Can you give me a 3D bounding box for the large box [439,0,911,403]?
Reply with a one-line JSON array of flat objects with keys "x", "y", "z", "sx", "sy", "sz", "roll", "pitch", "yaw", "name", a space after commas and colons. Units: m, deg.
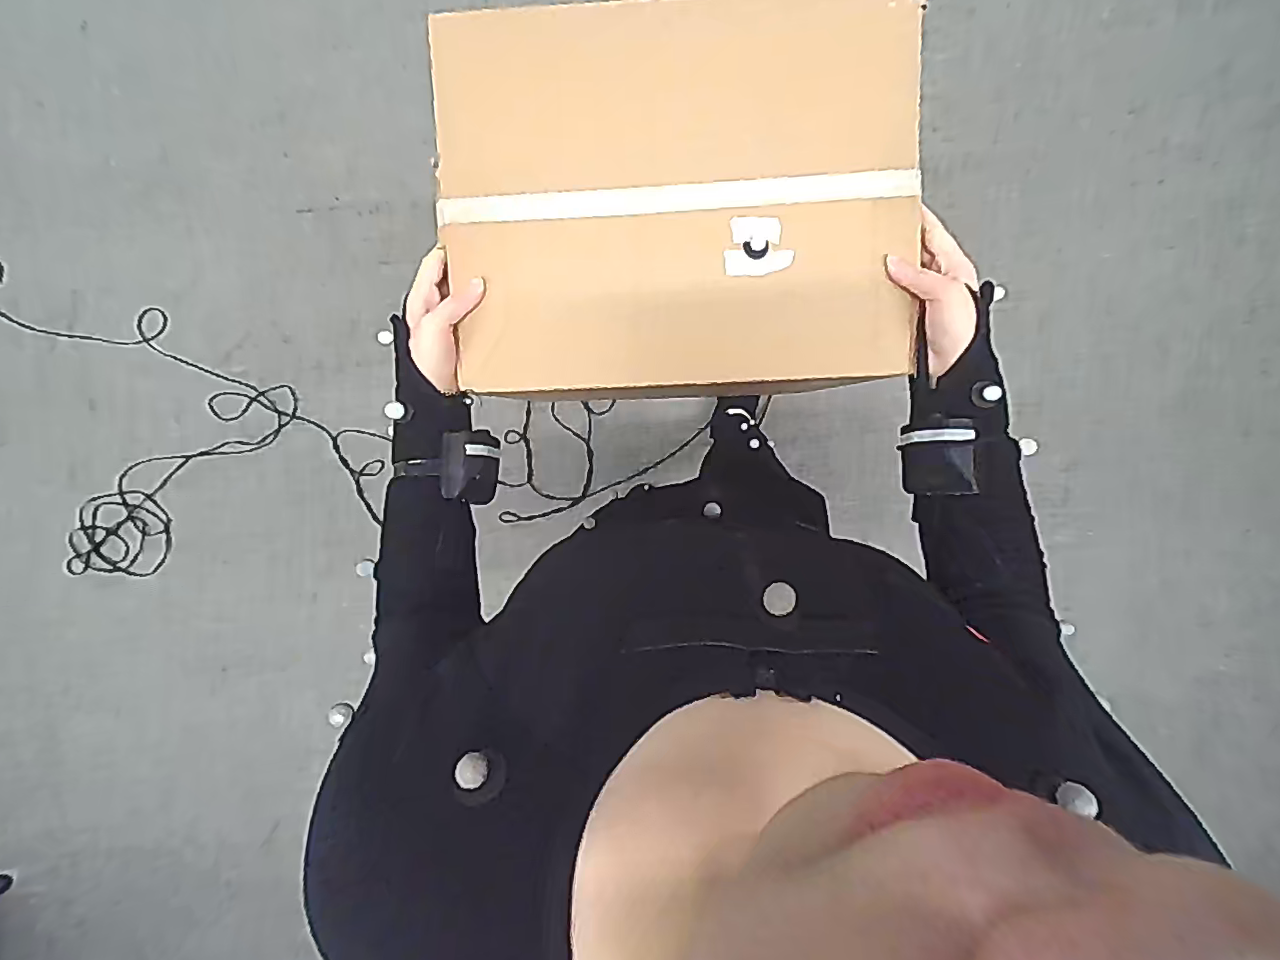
[{"x": 0.036, "y": -0.261, "z": 0.618, "sx": 0.408, "sy": 0.320, "sz": 0.320, "roll": -3, "pitch": 97, "yaw": 1, "name": "large box"}]
